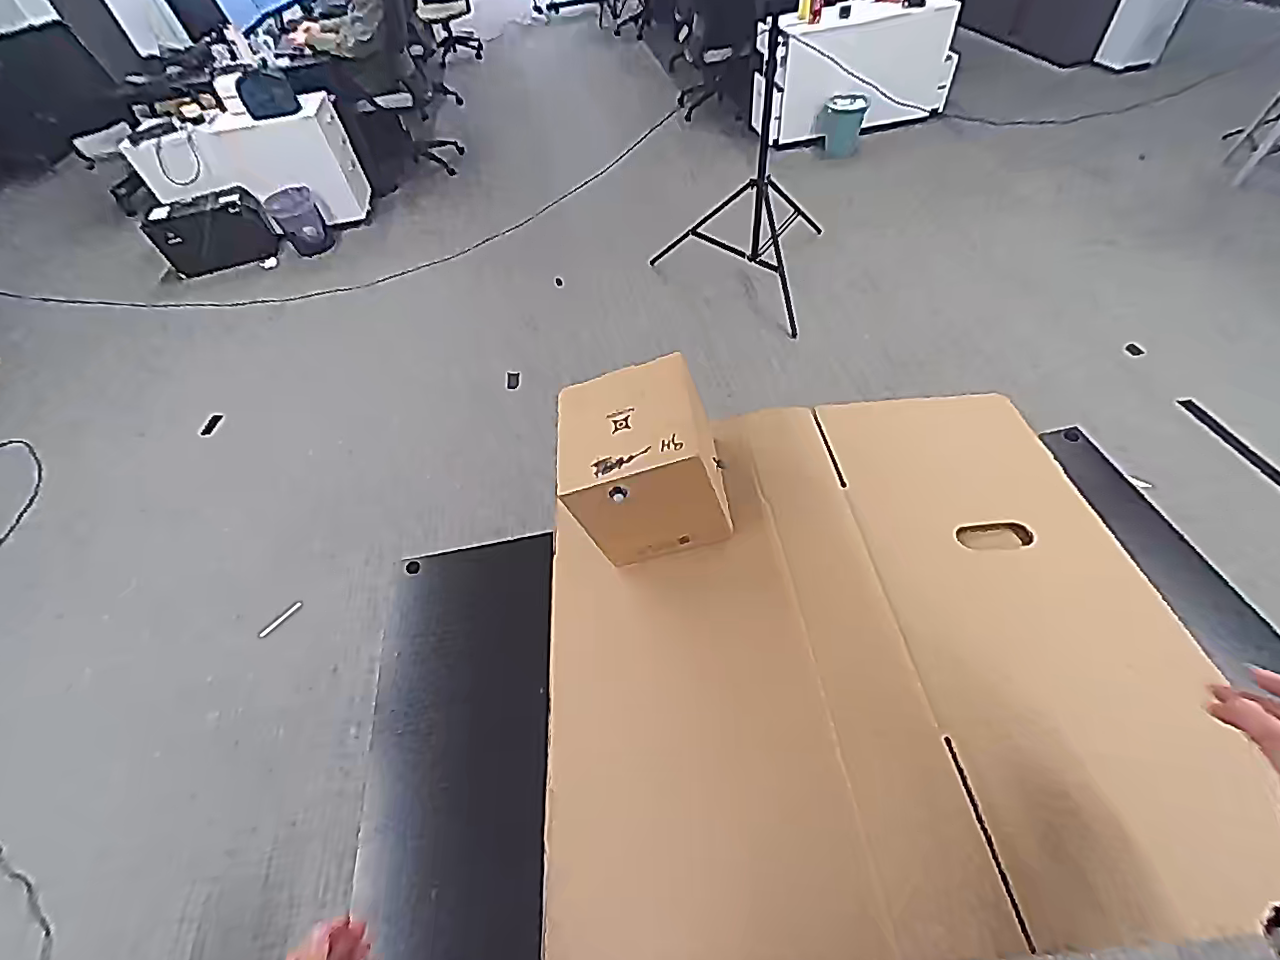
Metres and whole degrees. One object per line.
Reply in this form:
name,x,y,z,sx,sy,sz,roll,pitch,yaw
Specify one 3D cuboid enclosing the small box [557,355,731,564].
small box,0.008,-0.021,0.685,0.168,0.176,0.179,-17,48,13
